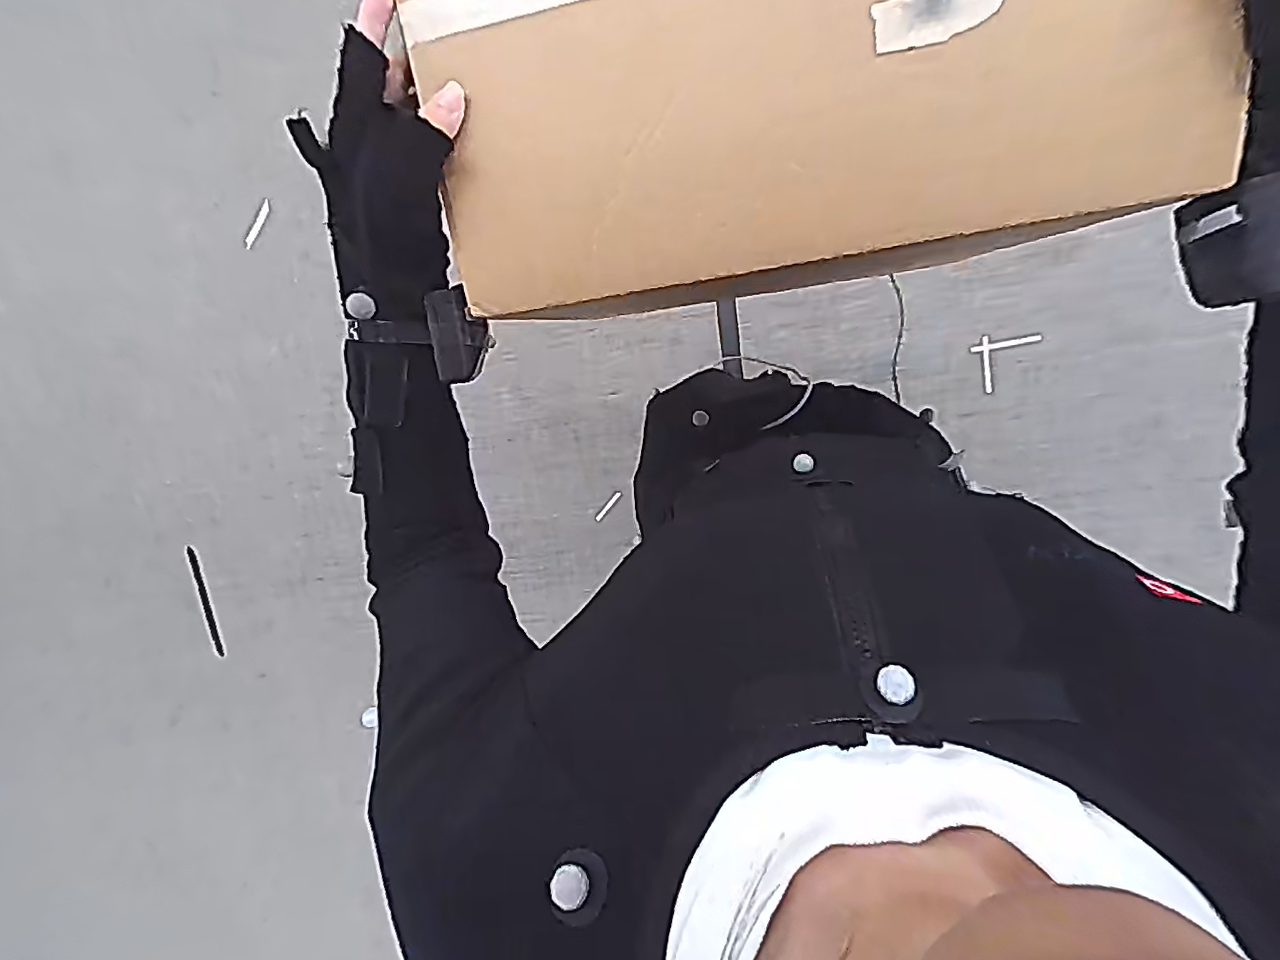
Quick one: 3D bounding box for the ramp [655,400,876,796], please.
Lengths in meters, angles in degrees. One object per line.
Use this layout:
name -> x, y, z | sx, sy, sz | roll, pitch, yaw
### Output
ramp -> 0.311, 0.309, 1.413 | 0.509, 0.206, 0.991 | -6, 97, 12

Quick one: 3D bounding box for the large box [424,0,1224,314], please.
large box -> 0.091, -0.322, 0.416 | 0.408, 0.320, 0.320 | -7, 106, 10
